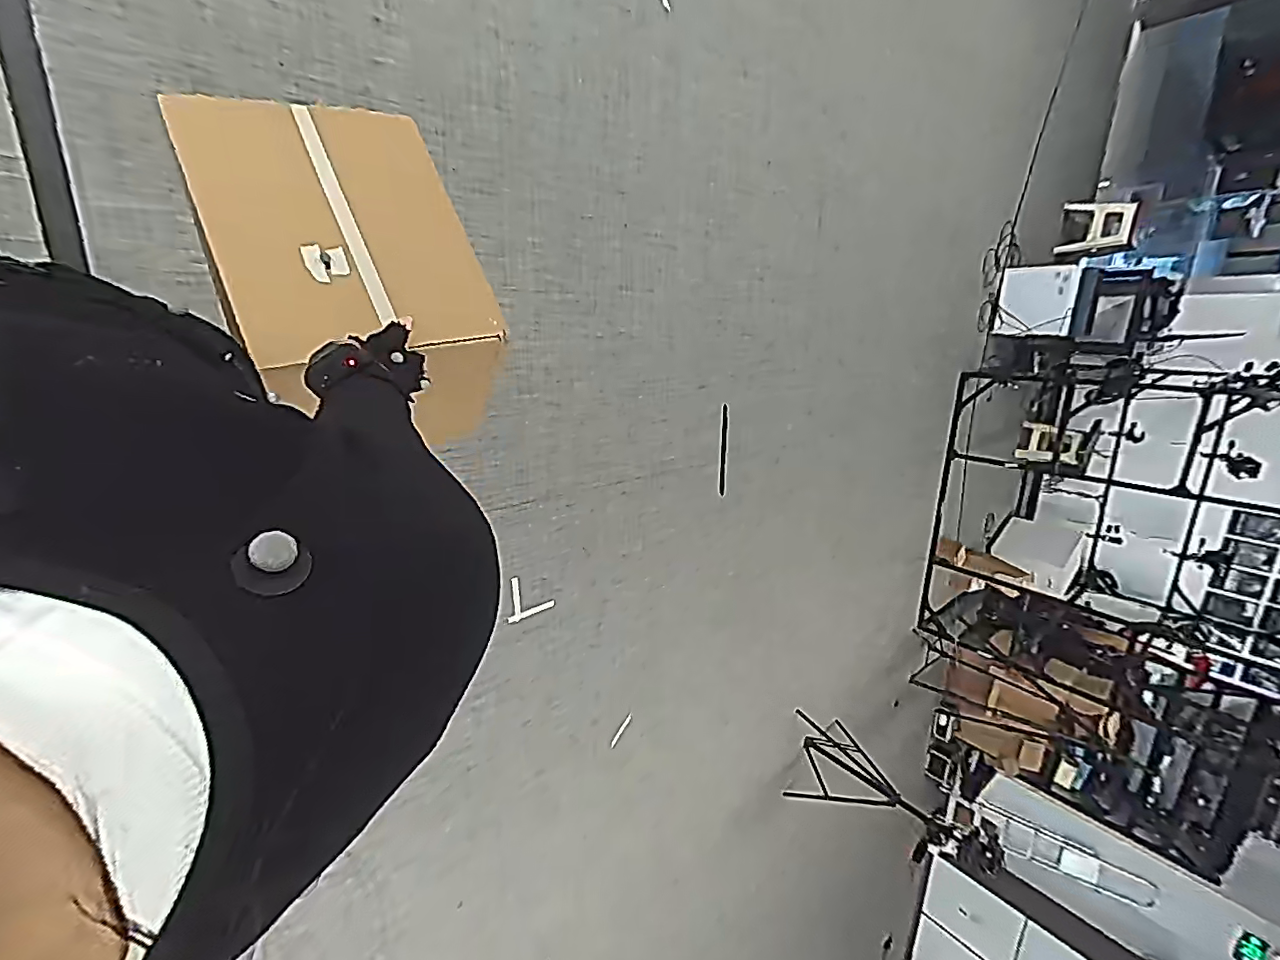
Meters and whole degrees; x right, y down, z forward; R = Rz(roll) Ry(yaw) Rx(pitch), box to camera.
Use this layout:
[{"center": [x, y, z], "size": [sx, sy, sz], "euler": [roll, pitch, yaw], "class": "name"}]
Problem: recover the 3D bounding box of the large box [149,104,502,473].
[{"center": [-0.468, -0.278, 0.839], "size": [0.320, 0.320, 0.408], "euler": [-20, 80, -32], "class": "large box"}]
